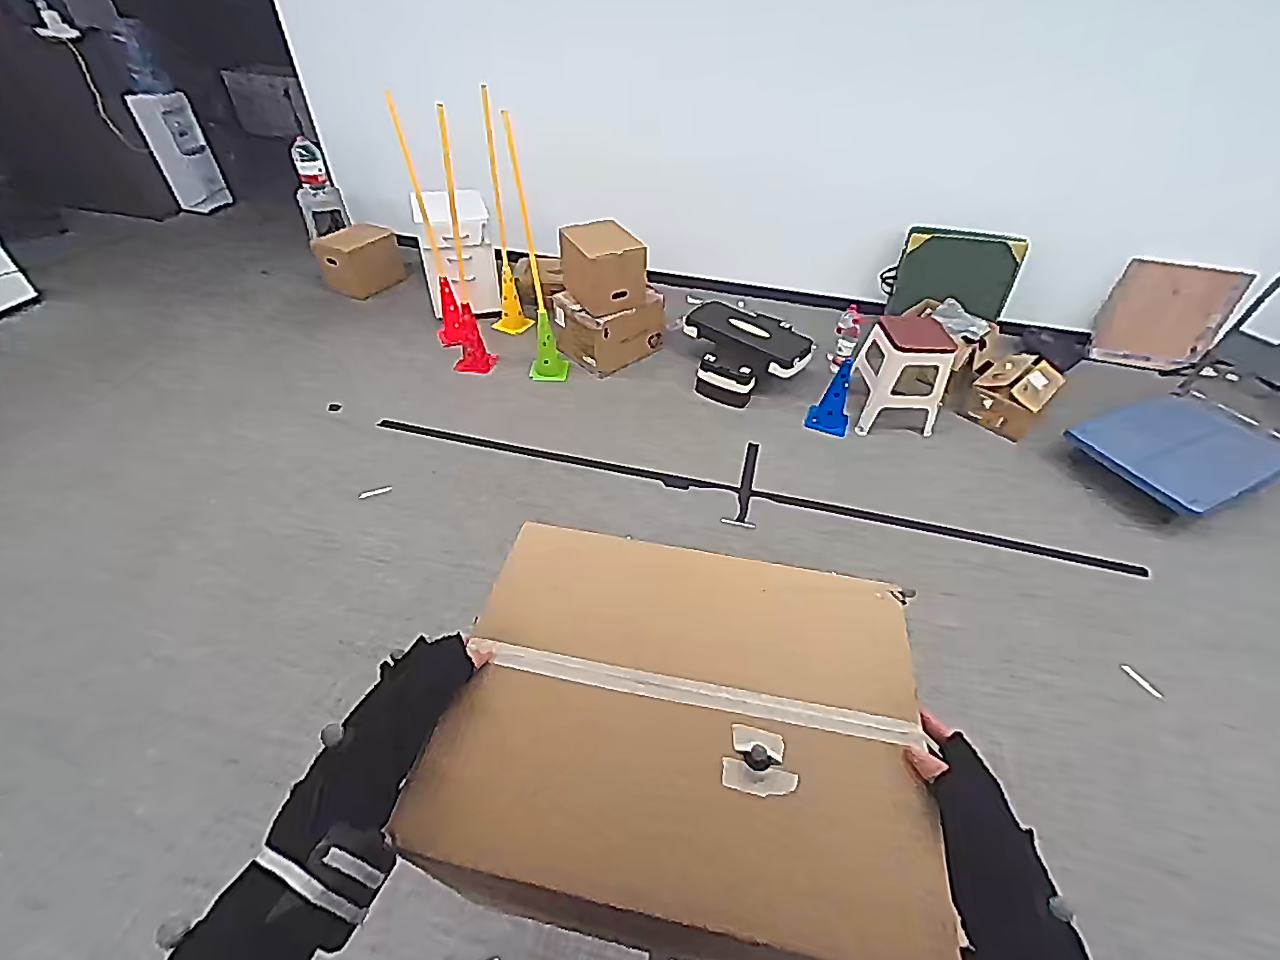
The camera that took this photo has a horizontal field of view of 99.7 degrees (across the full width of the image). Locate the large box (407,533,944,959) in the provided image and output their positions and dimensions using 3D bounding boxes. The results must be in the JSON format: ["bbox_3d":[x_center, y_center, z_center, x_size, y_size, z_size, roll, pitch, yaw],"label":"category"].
[{"bbox_3d":[0.037,0.297,0.597,0.408,0.320,0.320,9,47,7],"label":"large box"}]
